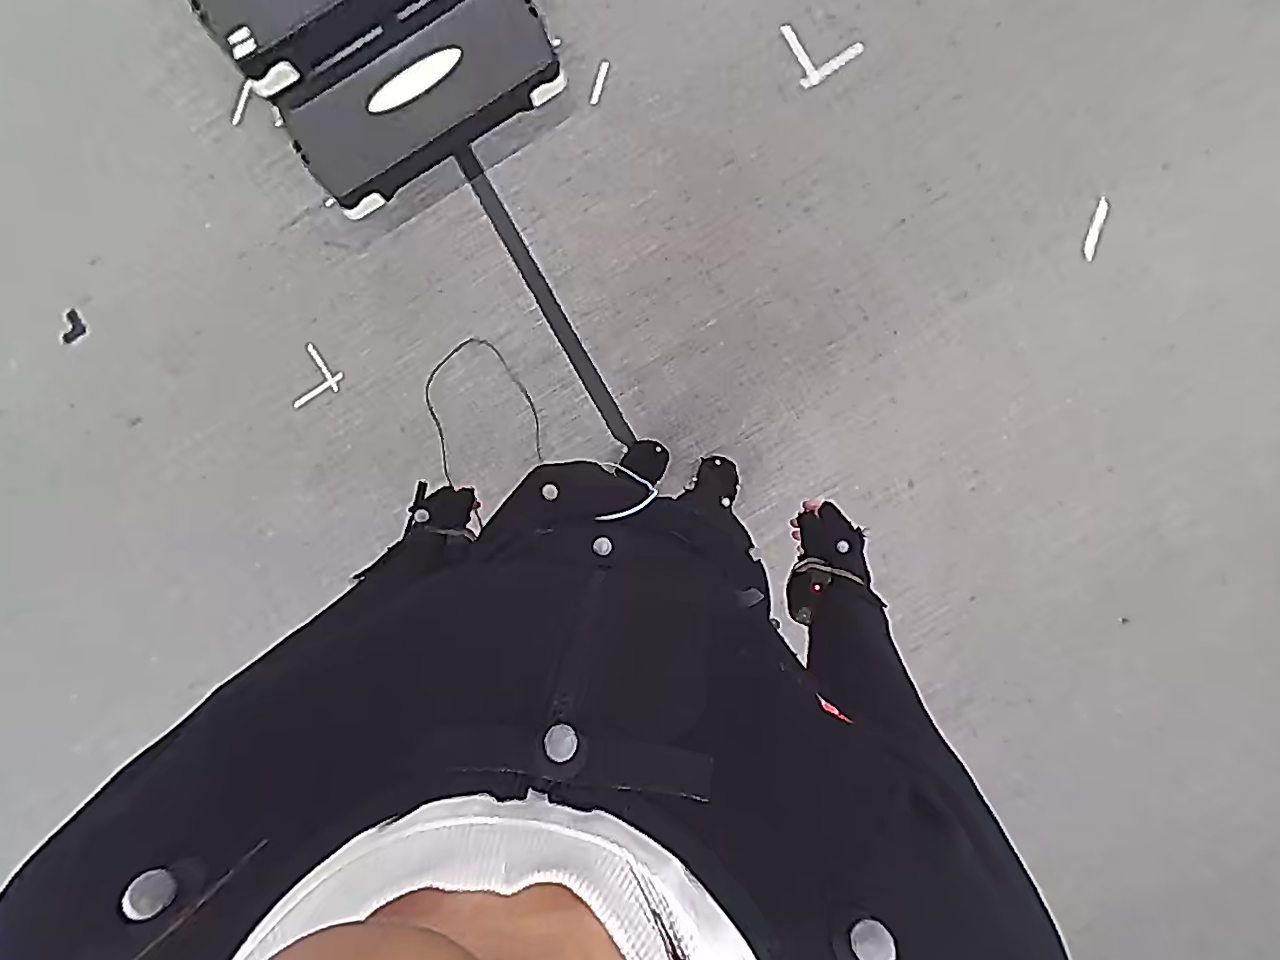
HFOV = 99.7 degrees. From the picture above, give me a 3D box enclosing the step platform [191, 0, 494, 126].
[{"bbox_3d":[-0.670,-1.163,1.257,0.684,0.204,0.286,-31,94,2],"label":"step platform"}]
